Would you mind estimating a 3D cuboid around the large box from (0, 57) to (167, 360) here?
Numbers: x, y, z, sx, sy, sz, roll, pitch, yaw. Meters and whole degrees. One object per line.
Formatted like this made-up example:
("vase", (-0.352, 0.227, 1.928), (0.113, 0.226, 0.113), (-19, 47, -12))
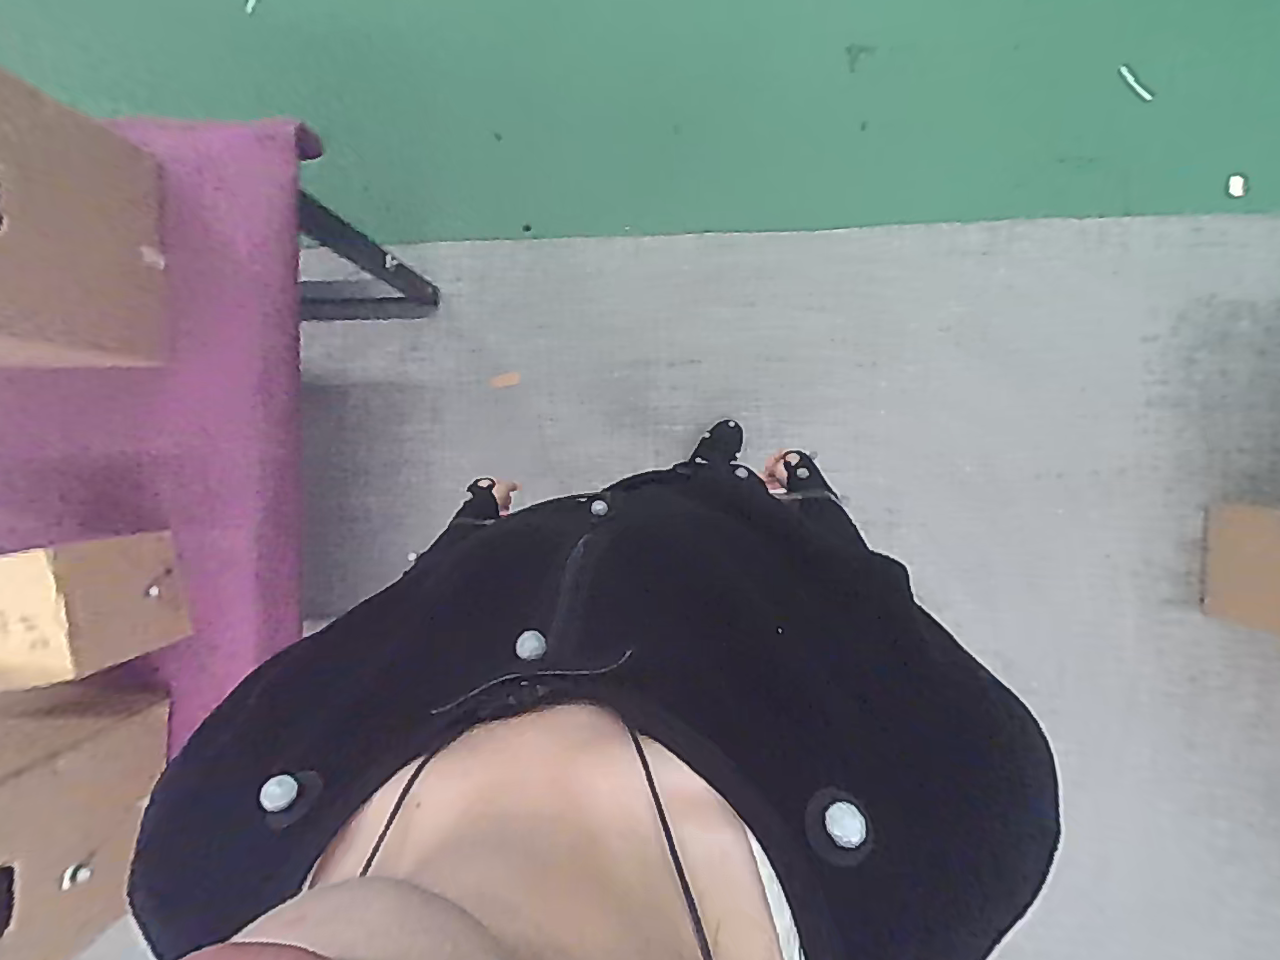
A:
("large box", (-0.911, -0.324, 0.657), (0.408, 0.320, 0.320), (0, 94, 2))
